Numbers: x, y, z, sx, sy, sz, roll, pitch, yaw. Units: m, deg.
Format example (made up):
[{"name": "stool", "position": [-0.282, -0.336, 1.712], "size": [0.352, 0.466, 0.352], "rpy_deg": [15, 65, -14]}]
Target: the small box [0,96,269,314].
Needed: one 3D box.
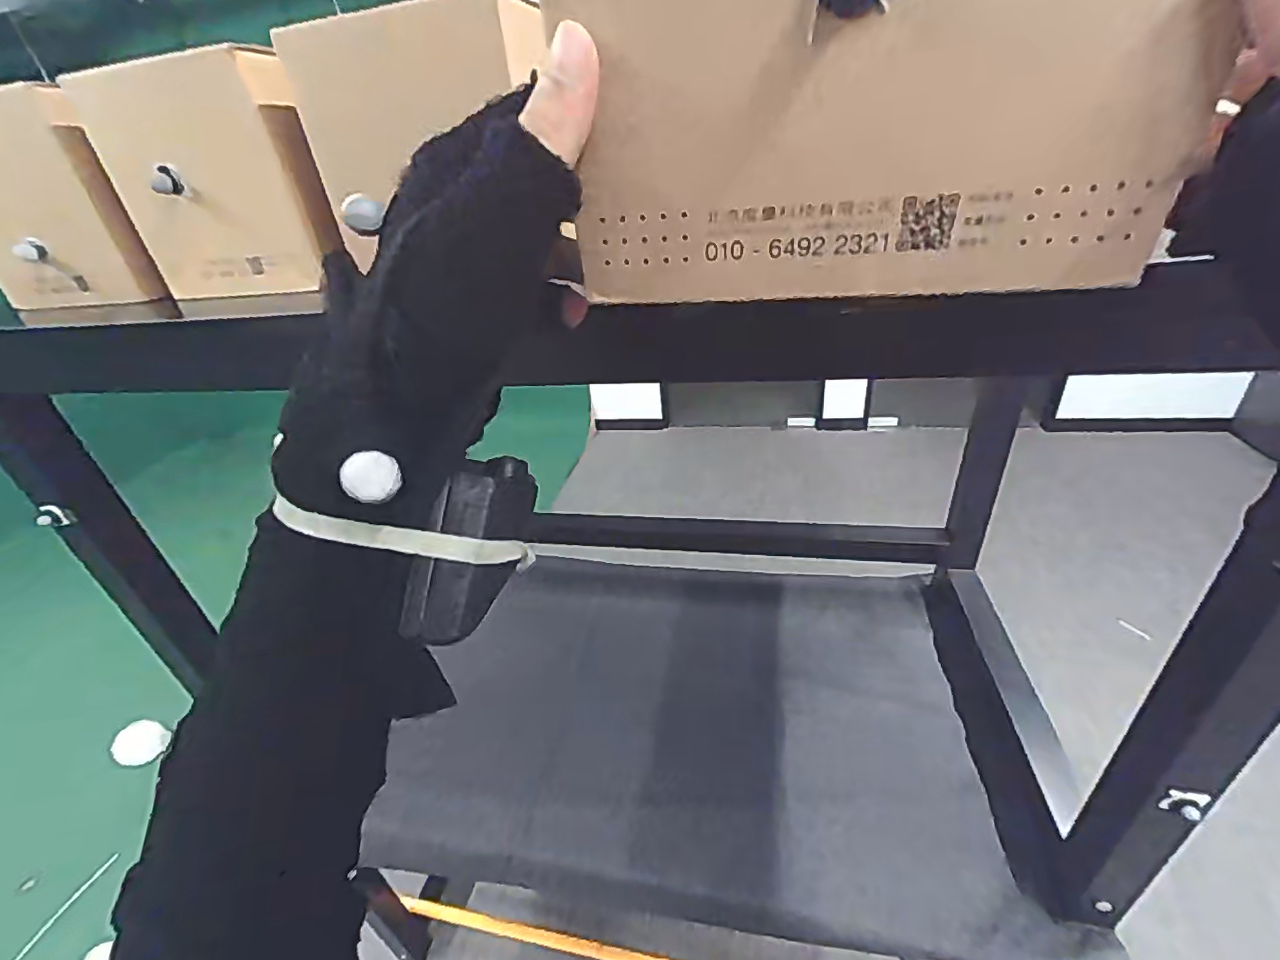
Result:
[{"name": "small box", "position": [-0.523, -0.273, 0.547], "size": [0.168, 0.176, 0.179], "rpy_deg": [1, 33, 13]}]
